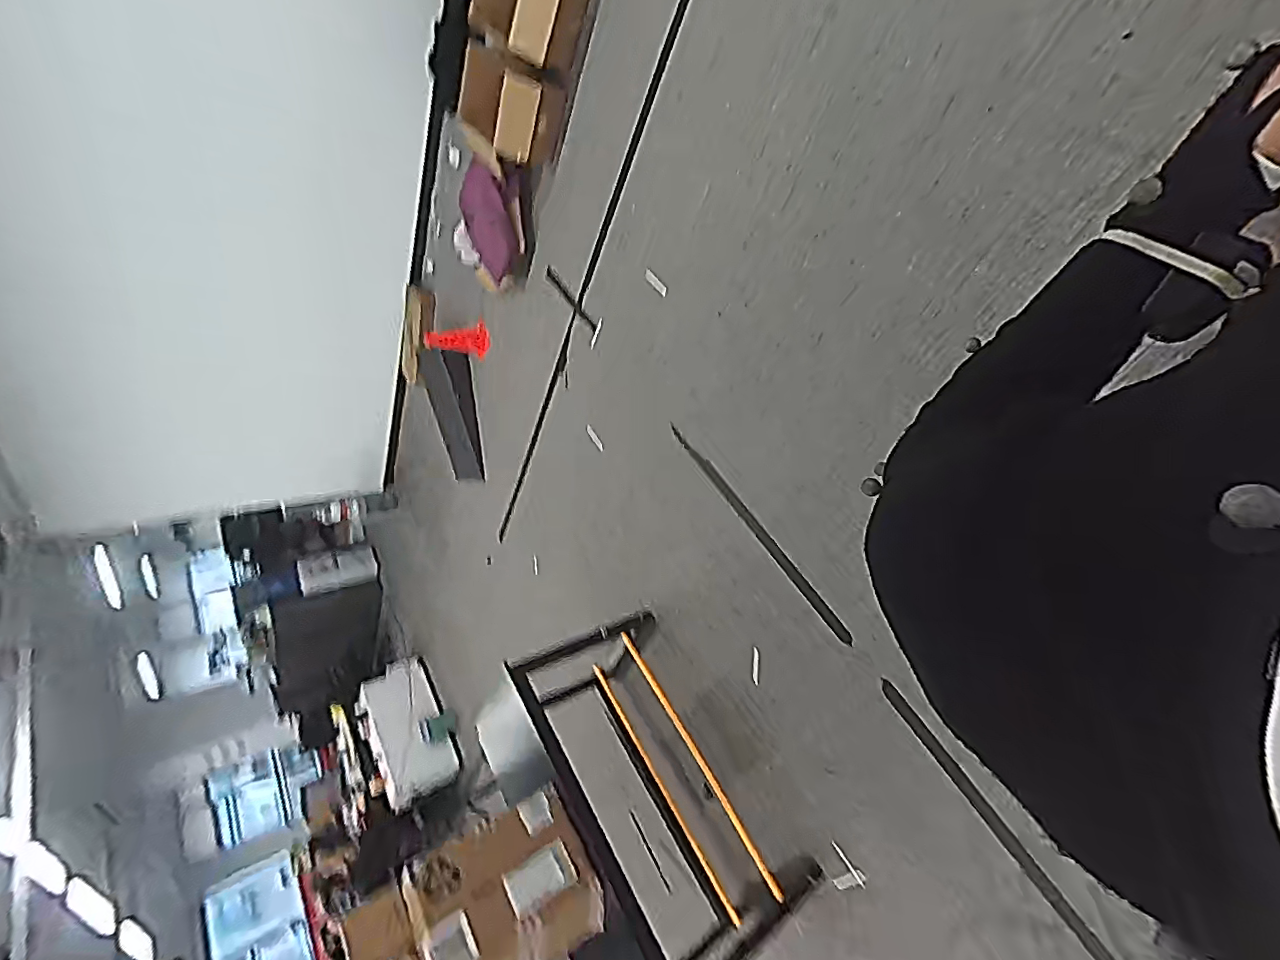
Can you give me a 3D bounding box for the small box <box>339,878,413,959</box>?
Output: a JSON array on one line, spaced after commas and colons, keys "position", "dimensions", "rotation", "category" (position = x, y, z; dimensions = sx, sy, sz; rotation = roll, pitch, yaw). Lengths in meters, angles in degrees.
[{"position": [-0.807, 1.370, 1.656], "dimensions": [0.168, 0.176, 0.179], "rotation": [51, 135, 31], "category": "small box"}]
